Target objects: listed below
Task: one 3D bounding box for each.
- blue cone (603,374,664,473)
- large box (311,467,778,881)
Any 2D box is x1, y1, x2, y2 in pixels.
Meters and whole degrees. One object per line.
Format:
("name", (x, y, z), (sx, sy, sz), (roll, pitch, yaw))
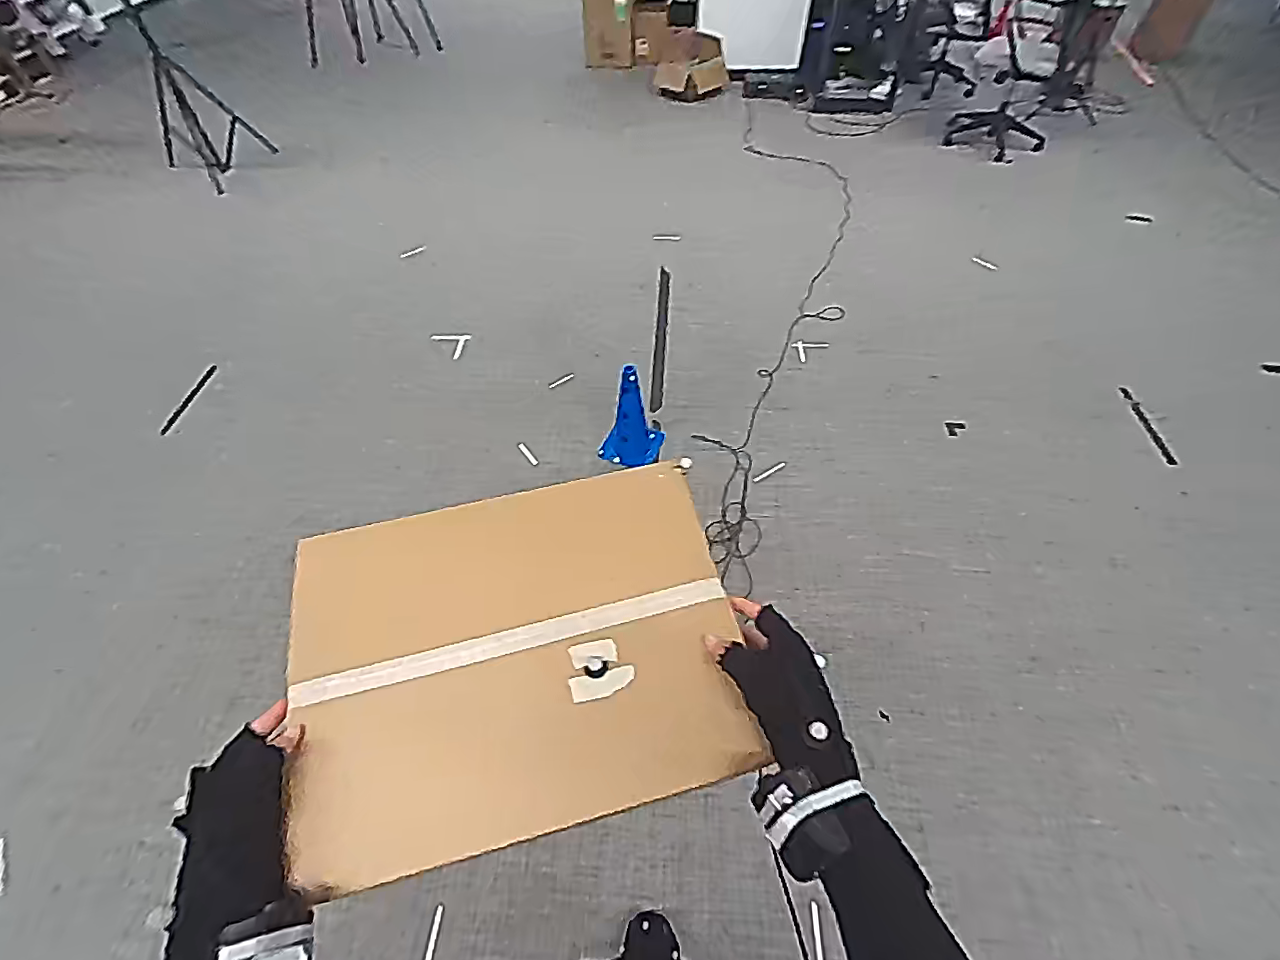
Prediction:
("blue cone", (-0.025, -0.214, 1.849), (0.193, 0.380, 0.192), (19, 55, 16))
("large box", (-0.106, 0.227, 0.651), (0.408, 0.320, 0.320), (-11, 60, -7))
